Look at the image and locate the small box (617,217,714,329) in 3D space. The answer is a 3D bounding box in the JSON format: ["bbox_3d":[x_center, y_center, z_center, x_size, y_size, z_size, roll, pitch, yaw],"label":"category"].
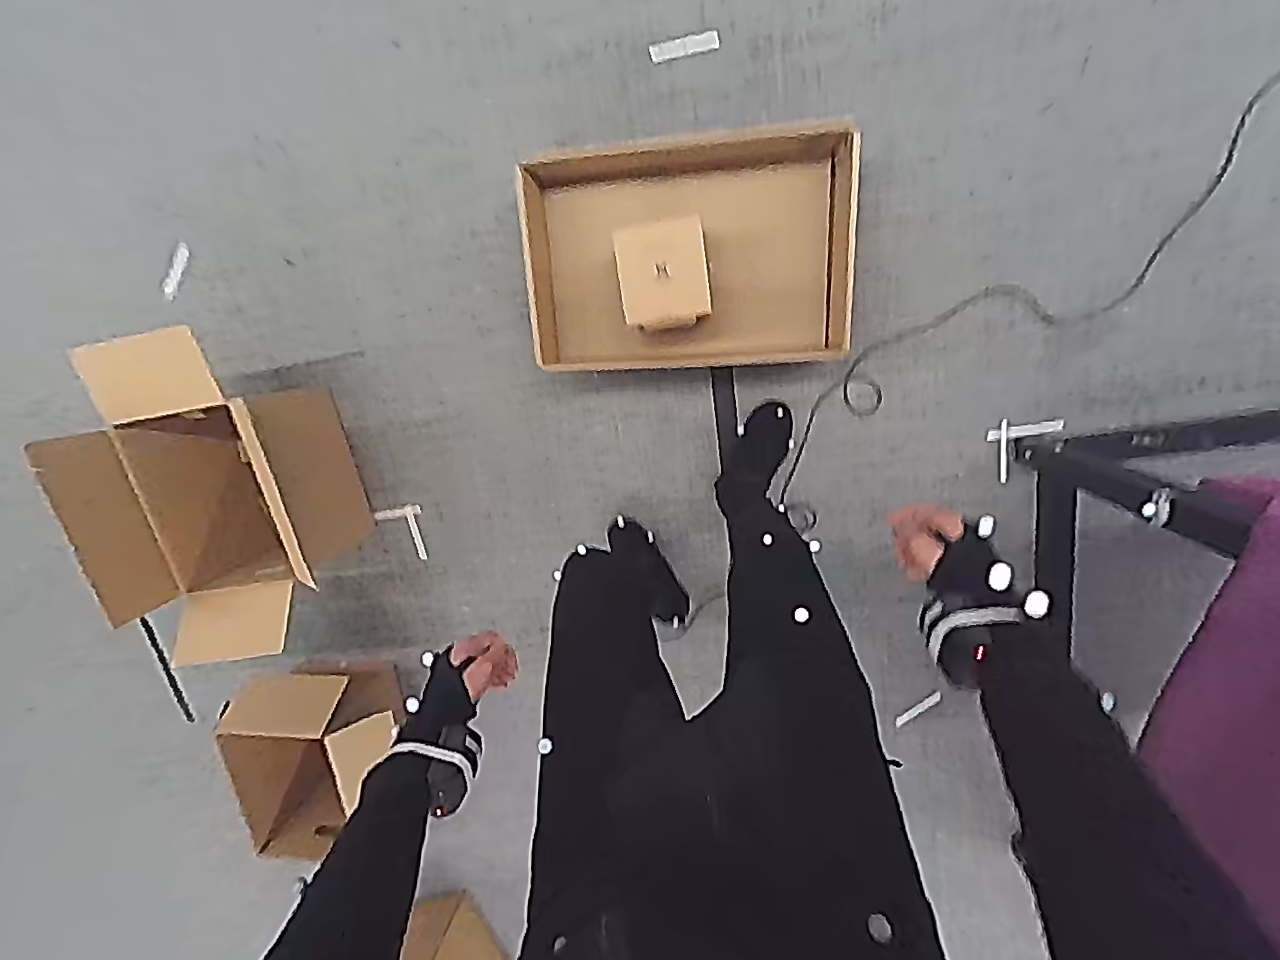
[{"bbox_3d":[0.059,-0.403,1.075,0.168,0.176,0.179,-7,105,8],"label":"small box"}]
